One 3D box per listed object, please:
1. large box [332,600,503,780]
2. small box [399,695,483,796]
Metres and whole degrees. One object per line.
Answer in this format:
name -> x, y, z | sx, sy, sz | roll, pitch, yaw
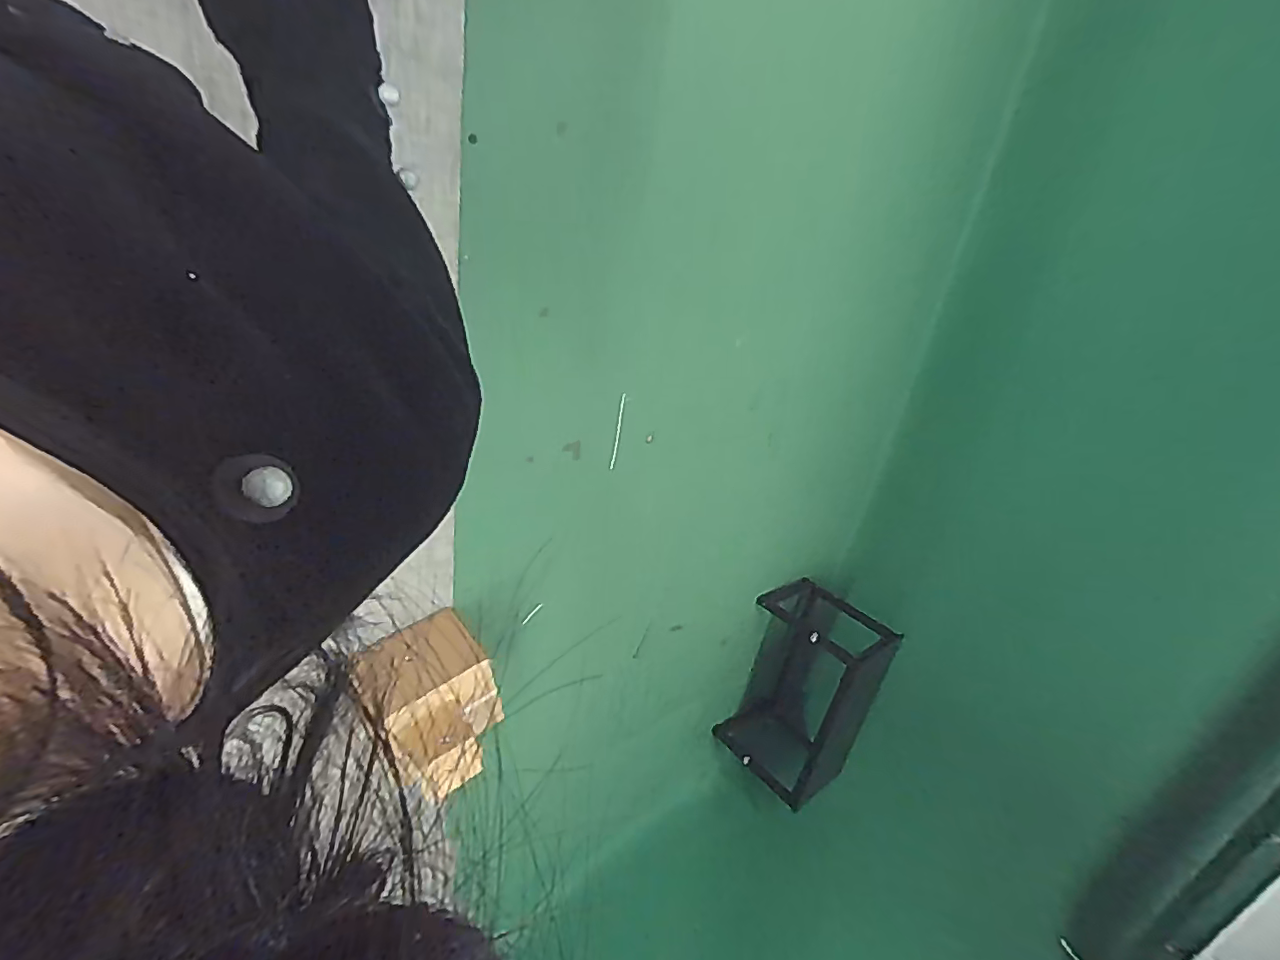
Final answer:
large box -> -0.731, 0.678, 1.802 | 0.408, 0.320, 0.320 | -26, 131, -32
small box -> -0.597, 0.789, 1.626 | 0.179, 0.176, 0.168 | -22, 126, -33
